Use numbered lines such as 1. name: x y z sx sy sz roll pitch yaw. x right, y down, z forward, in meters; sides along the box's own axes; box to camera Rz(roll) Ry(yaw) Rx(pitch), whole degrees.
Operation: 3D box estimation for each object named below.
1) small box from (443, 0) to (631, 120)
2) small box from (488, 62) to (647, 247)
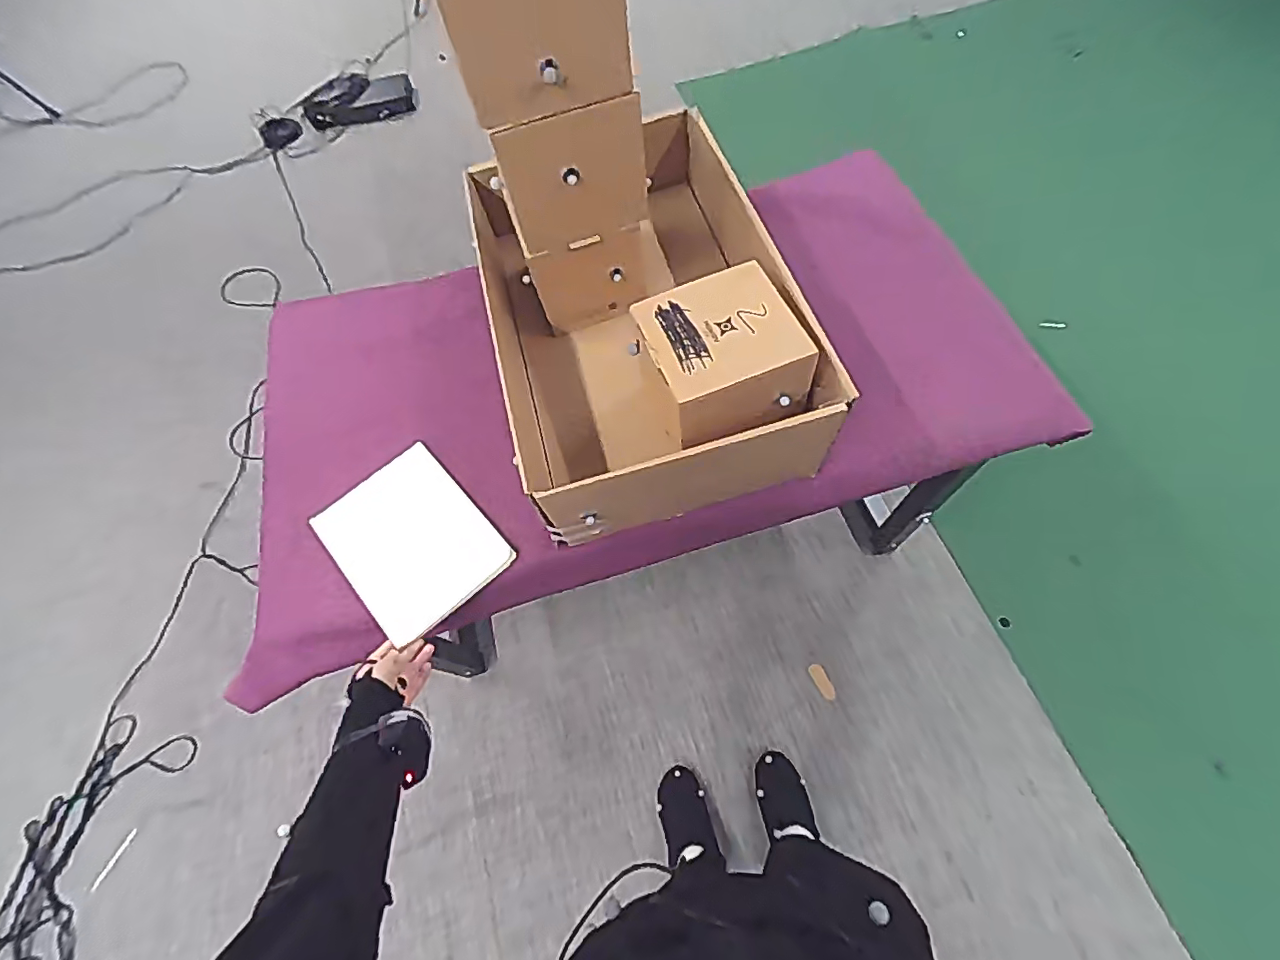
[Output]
1. small box: -0.111 -0.506 0.545 0.179 0.176 0.168 -16 65 -4
2. small box: -0.094 -0.436 0.692 0.179 0.176 0.168 -19 65 -3
